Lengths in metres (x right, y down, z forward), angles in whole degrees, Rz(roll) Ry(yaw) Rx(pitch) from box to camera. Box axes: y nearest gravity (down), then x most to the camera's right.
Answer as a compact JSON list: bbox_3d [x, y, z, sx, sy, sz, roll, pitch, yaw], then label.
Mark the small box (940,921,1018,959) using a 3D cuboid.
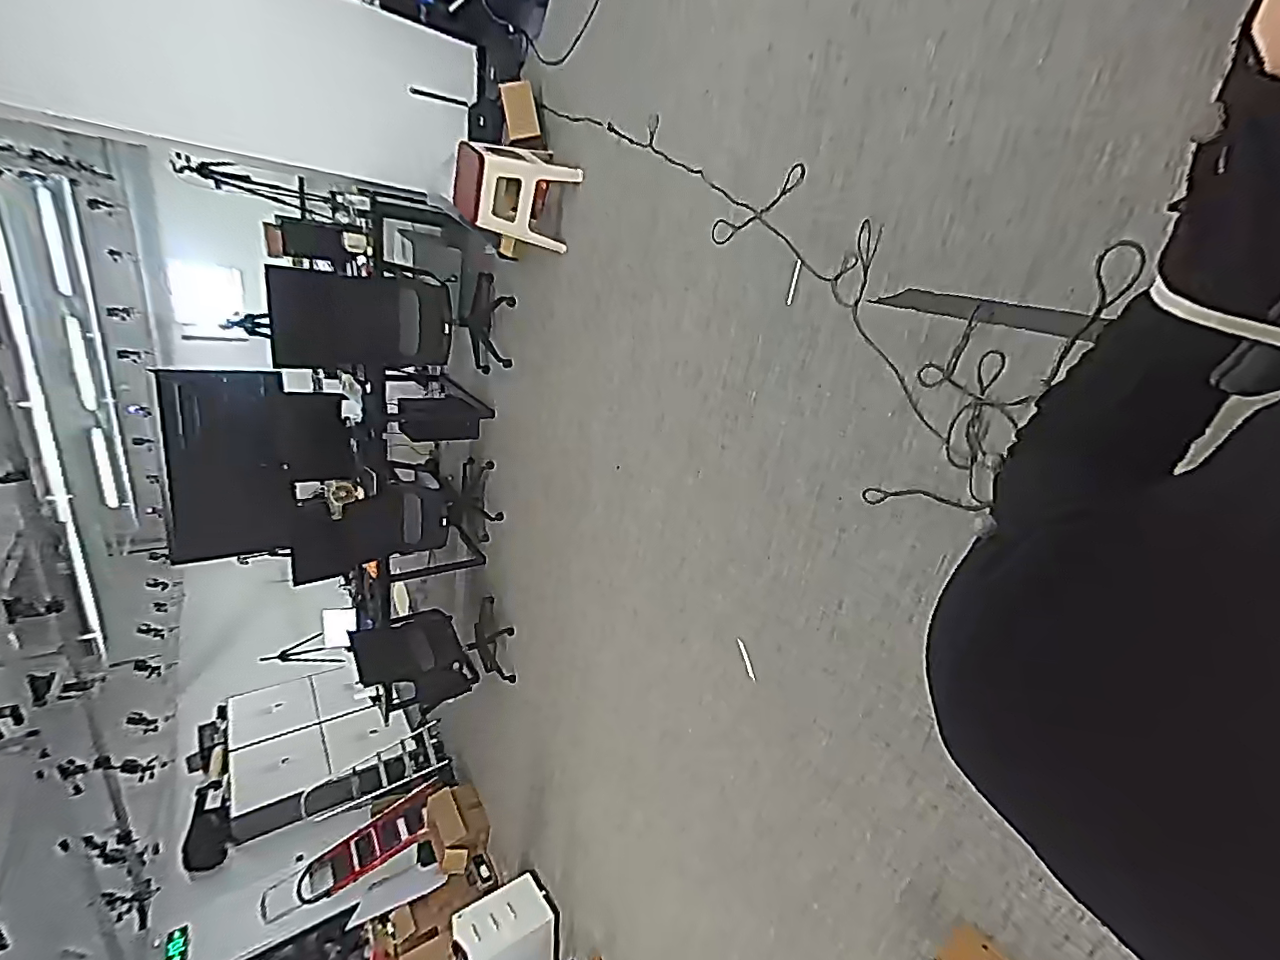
[{"bbox_3d":[0.859,1.286,1.367,0.168,0.176,0.179,30,119,48],"label":"small box"}]
